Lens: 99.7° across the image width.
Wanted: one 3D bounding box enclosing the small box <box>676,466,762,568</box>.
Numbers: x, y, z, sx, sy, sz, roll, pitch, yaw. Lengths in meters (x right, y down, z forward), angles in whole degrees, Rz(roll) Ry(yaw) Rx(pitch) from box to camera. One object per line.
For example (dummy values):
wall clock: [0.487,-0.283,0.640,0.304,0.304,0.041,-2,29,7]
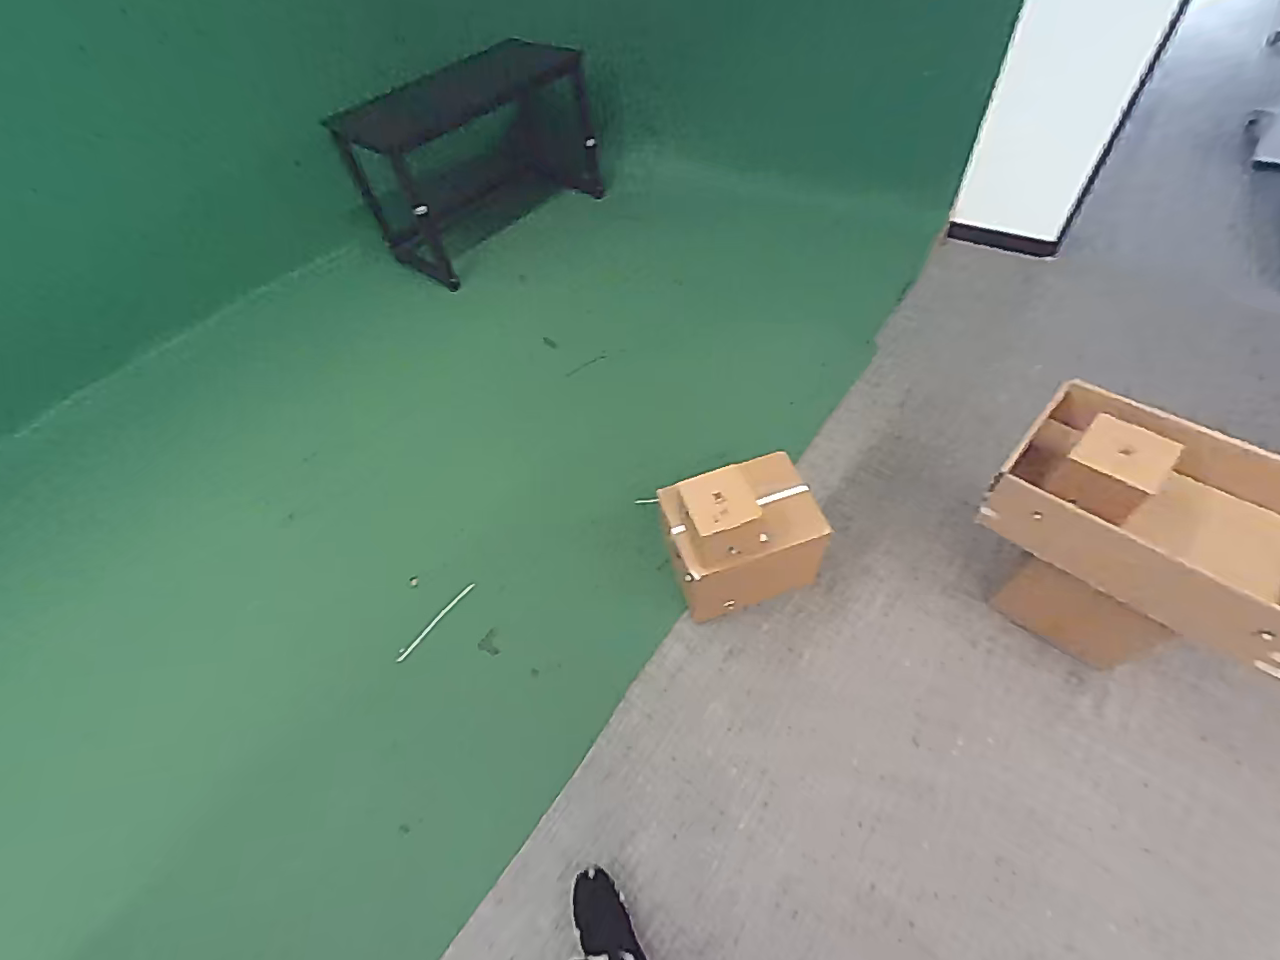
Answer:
small box: [0.200,0.099,1.406,0.168,0.176,0.179,-18,54,-7]
